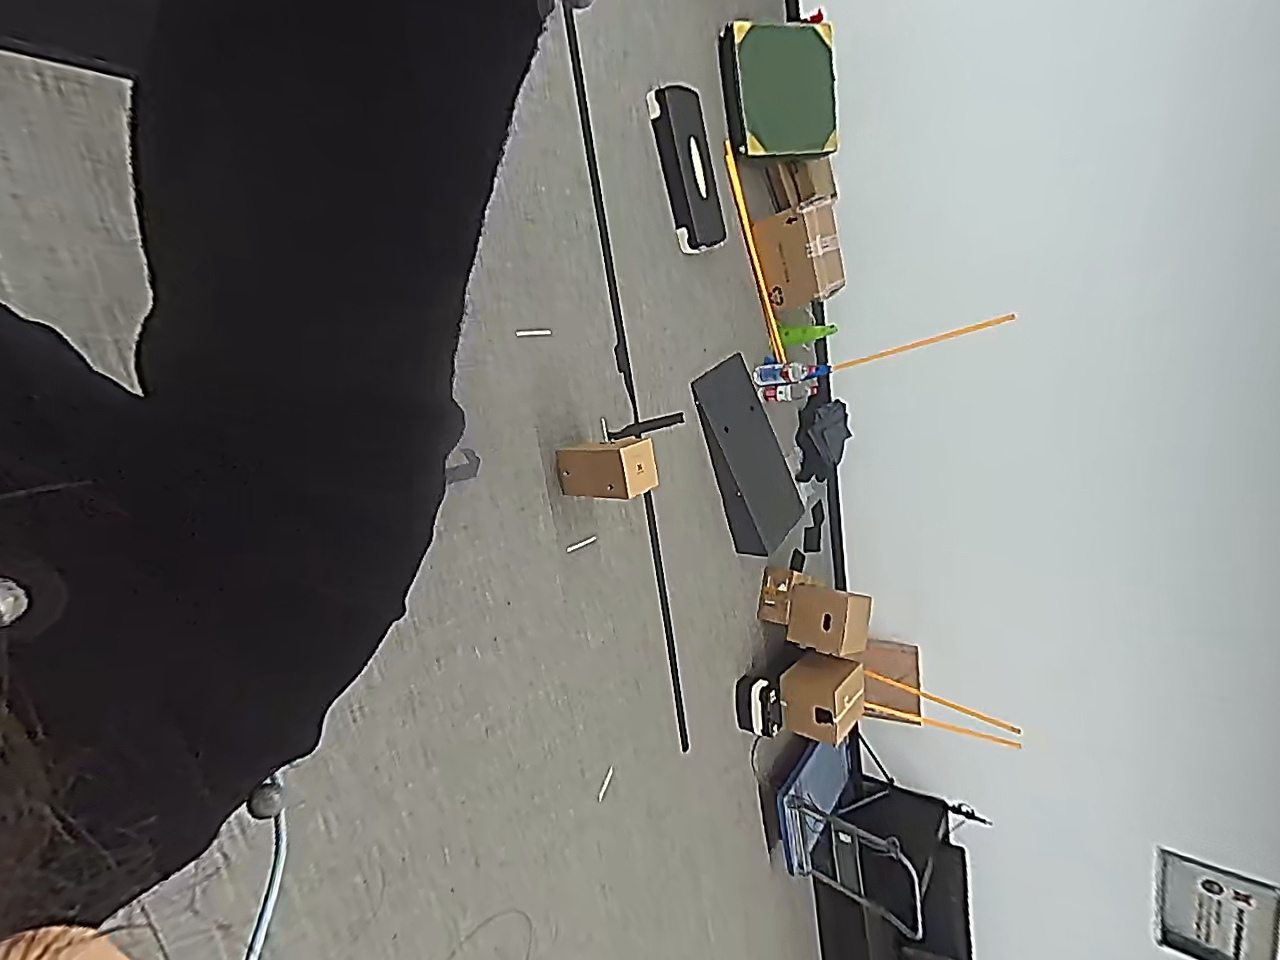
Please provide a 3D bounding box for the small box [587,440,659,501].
[{"bbox_3d":[-0.061,-0.037,1.879,0.168,0.176,0.179,-24,108,-46],"label":"small box"}]

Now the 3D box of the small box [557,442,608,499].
[{"bbox_3d":[-0.182,-0.041,1.989,0.168,0.176,0.179,-21,108,-47],"label":"small box"}]
